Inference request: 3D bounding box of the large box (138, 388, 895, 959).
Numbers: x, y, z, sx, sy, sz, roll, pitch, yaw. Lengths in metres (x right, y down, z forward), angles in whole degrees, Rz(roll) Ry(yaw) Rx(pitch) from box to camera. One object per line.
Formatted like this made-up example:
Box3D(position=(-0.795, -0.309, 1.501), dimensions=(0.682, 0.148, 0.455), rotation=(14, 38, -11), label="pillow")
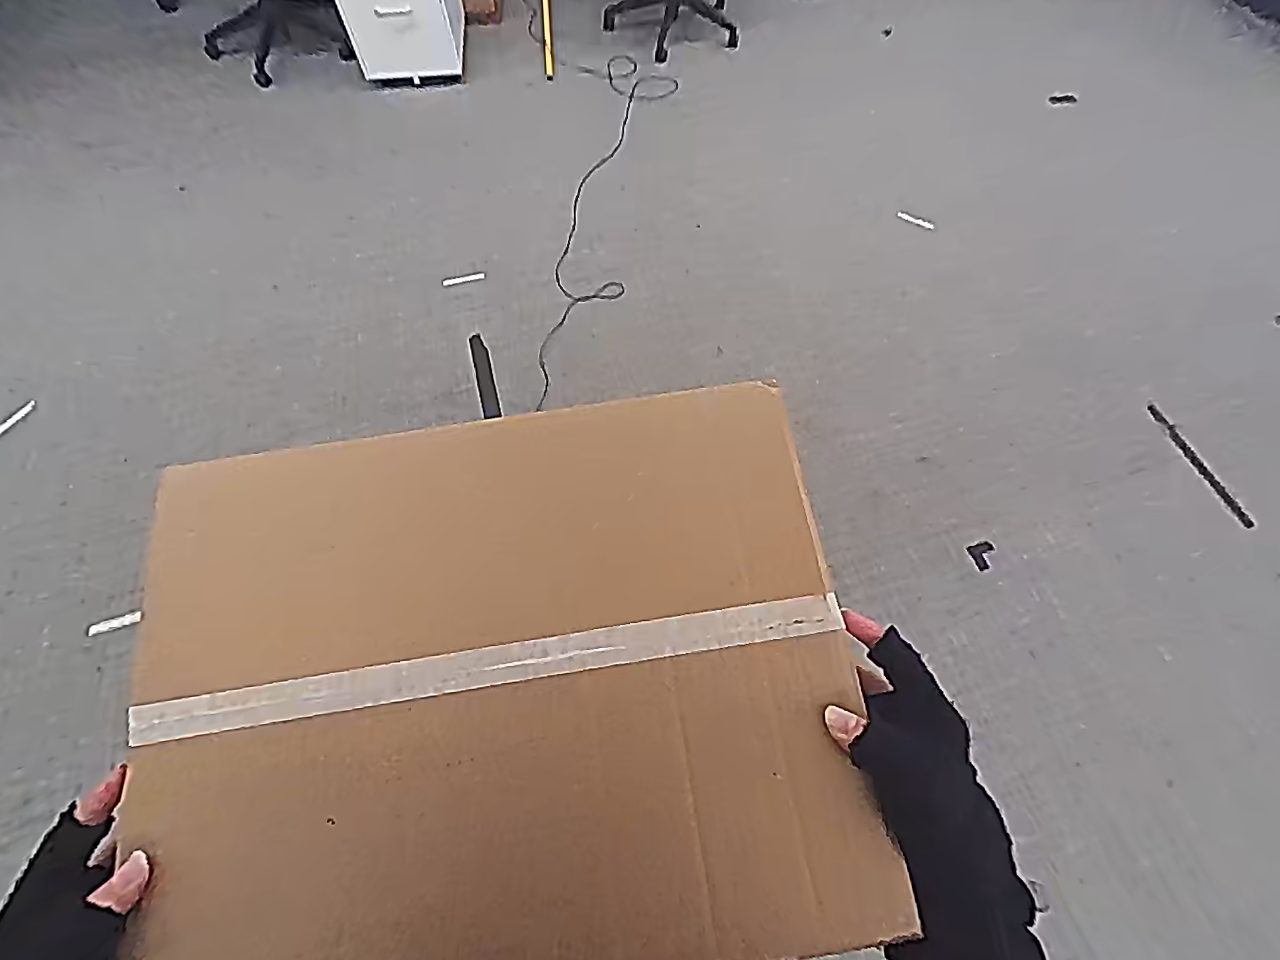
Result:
Box3D(position=(-0.080, 0.157, 0.464), dimensions=(0.408, 0.320, 0.320), rotation=(-9, 73, -1), label="large box")
